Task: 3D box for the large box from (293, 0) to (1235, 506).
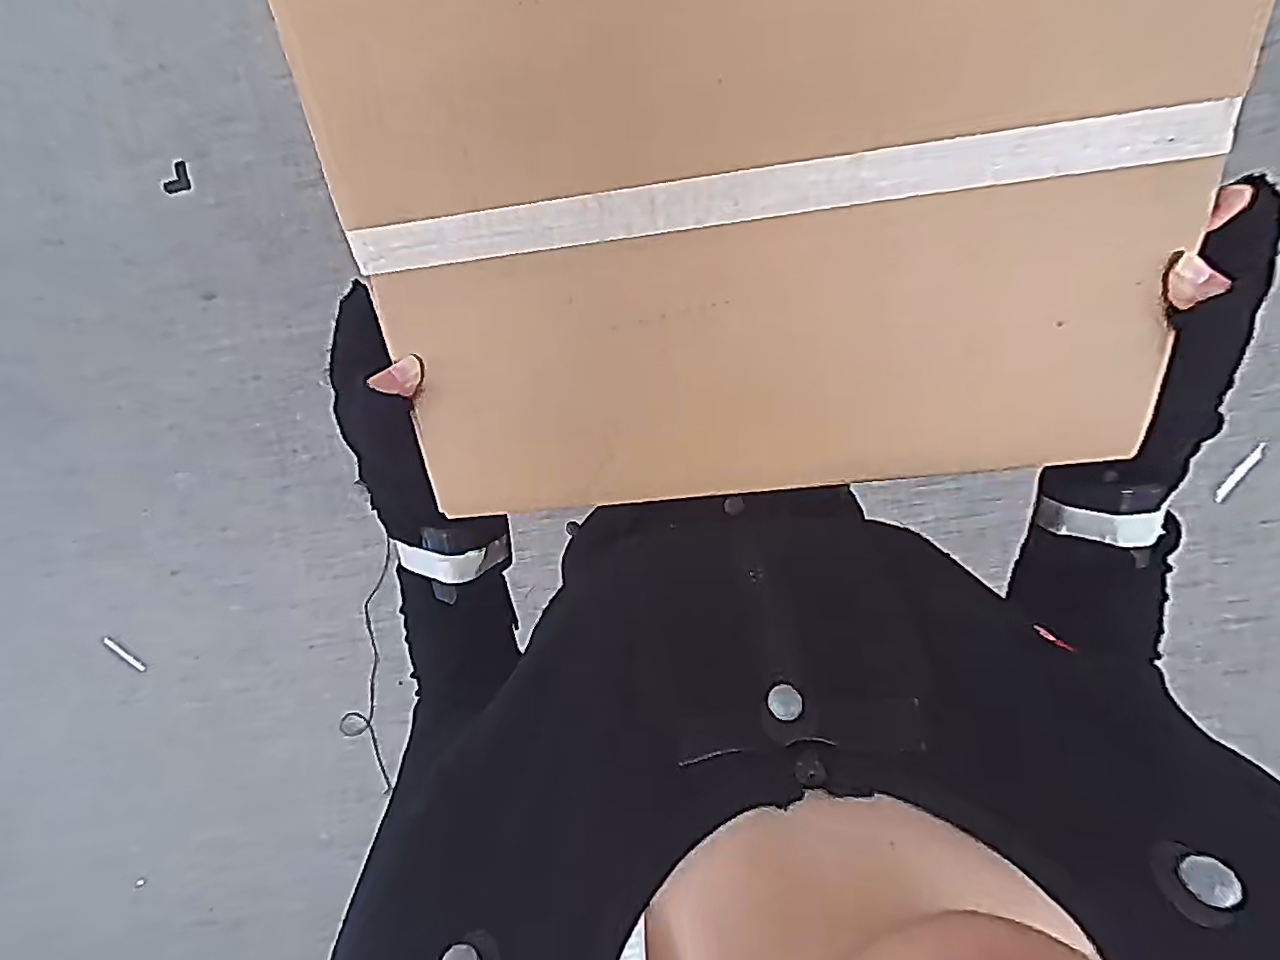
[{"bbox_3d":[0.060,-0.203,0.399,0.408,0.320,0.320,-5,117,5],"label":"large box"}]
